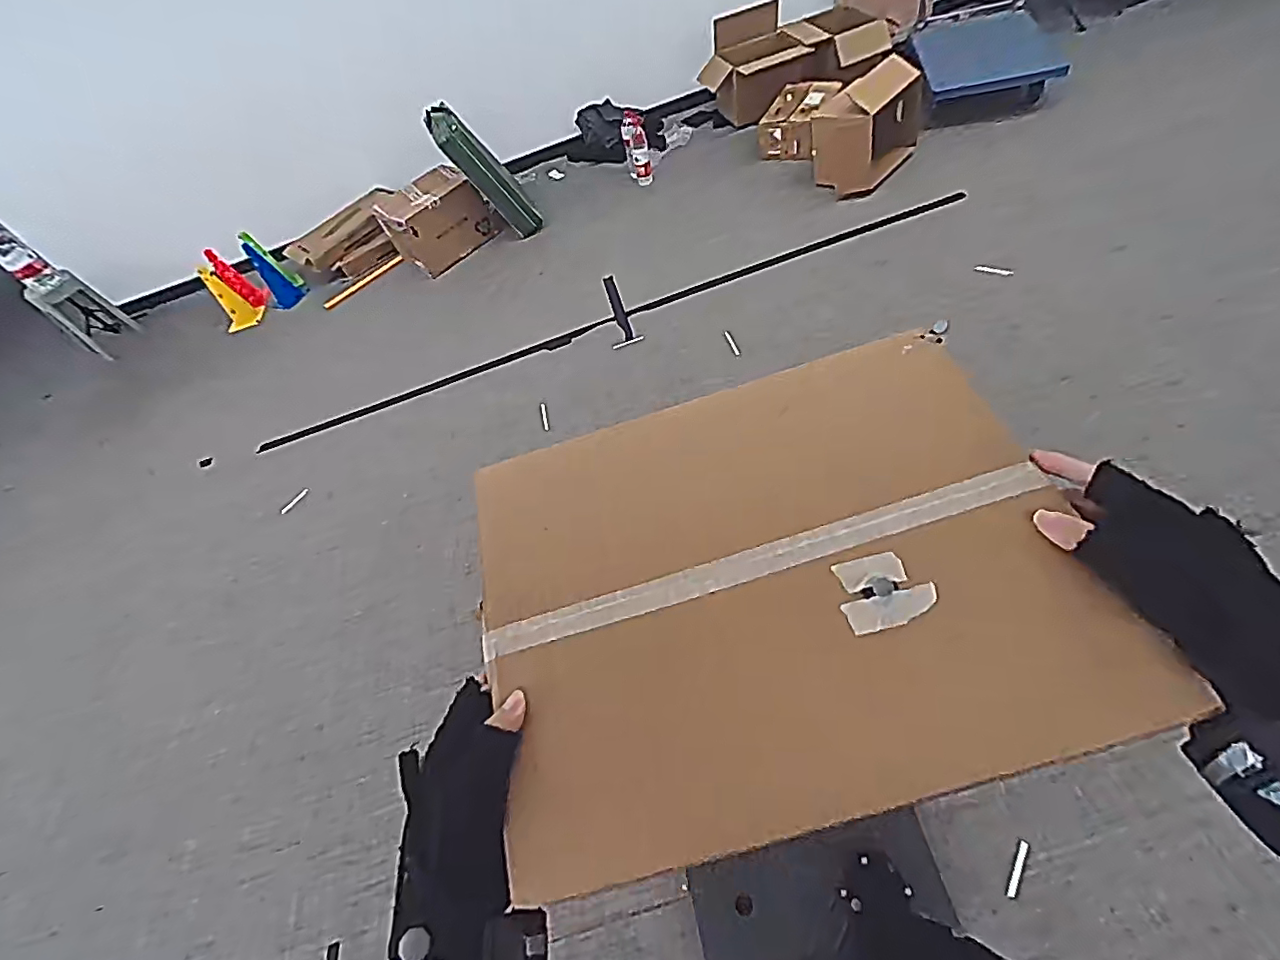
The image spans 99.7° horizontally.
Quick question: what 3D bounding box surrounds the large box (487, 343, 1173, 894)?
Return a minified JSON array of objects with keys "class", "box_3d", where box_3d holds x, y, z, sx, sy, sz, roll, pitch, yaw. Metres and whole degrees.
[{"class":"large box","box_3d":[0.114,0.139,0.522,0.408,0.320,0.320,-18,58,2]}]
